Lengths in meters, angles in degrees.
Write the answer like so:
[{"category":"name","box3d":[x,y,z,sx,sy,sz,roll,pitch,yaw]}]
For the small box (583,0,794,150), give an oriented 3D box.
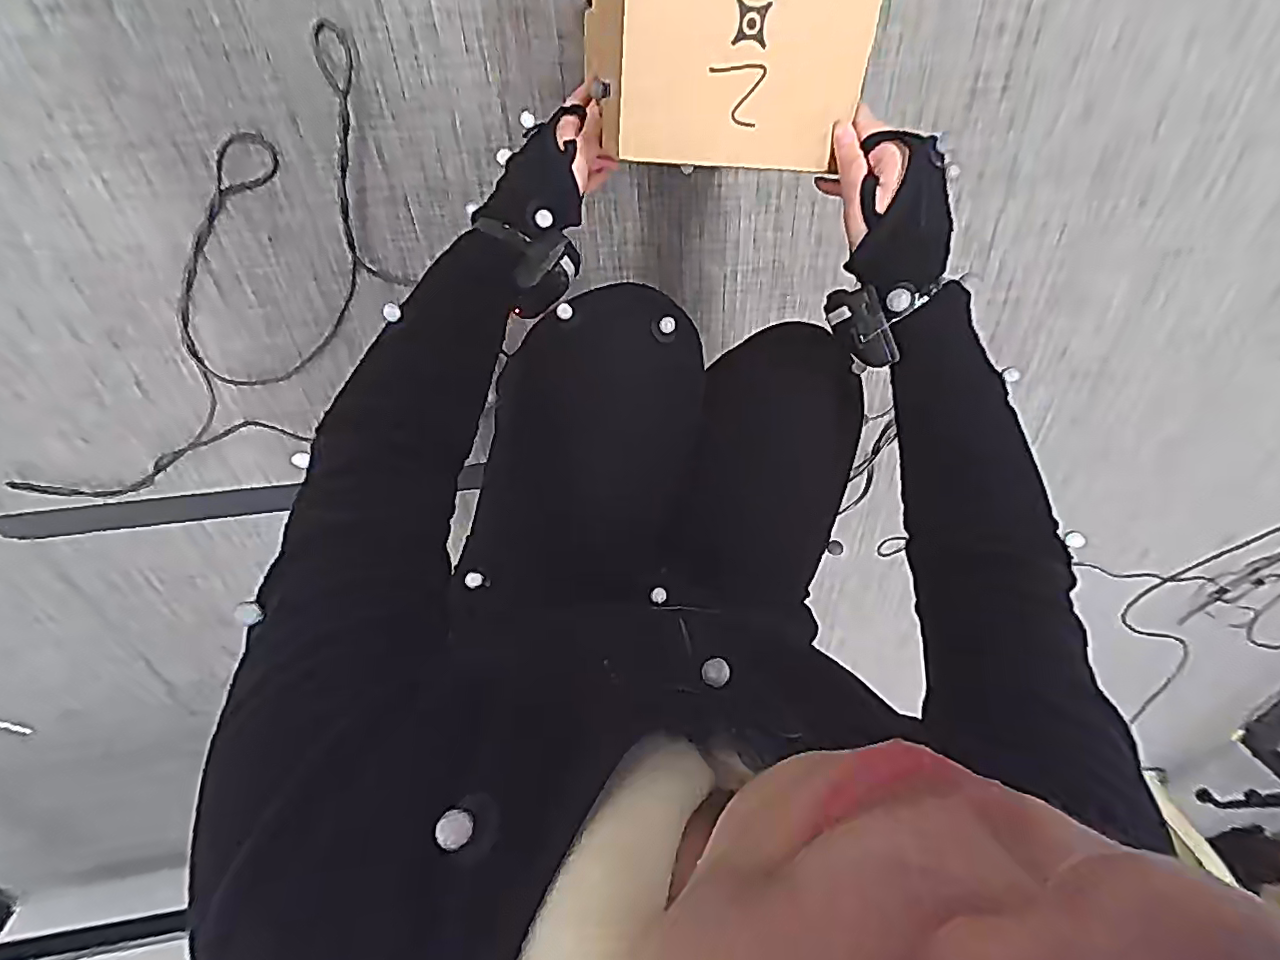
[{"category":"small box","box3d":[0.034,-0.427,0.532,0.179,0.176,0.168,-3,124,-9]}]
